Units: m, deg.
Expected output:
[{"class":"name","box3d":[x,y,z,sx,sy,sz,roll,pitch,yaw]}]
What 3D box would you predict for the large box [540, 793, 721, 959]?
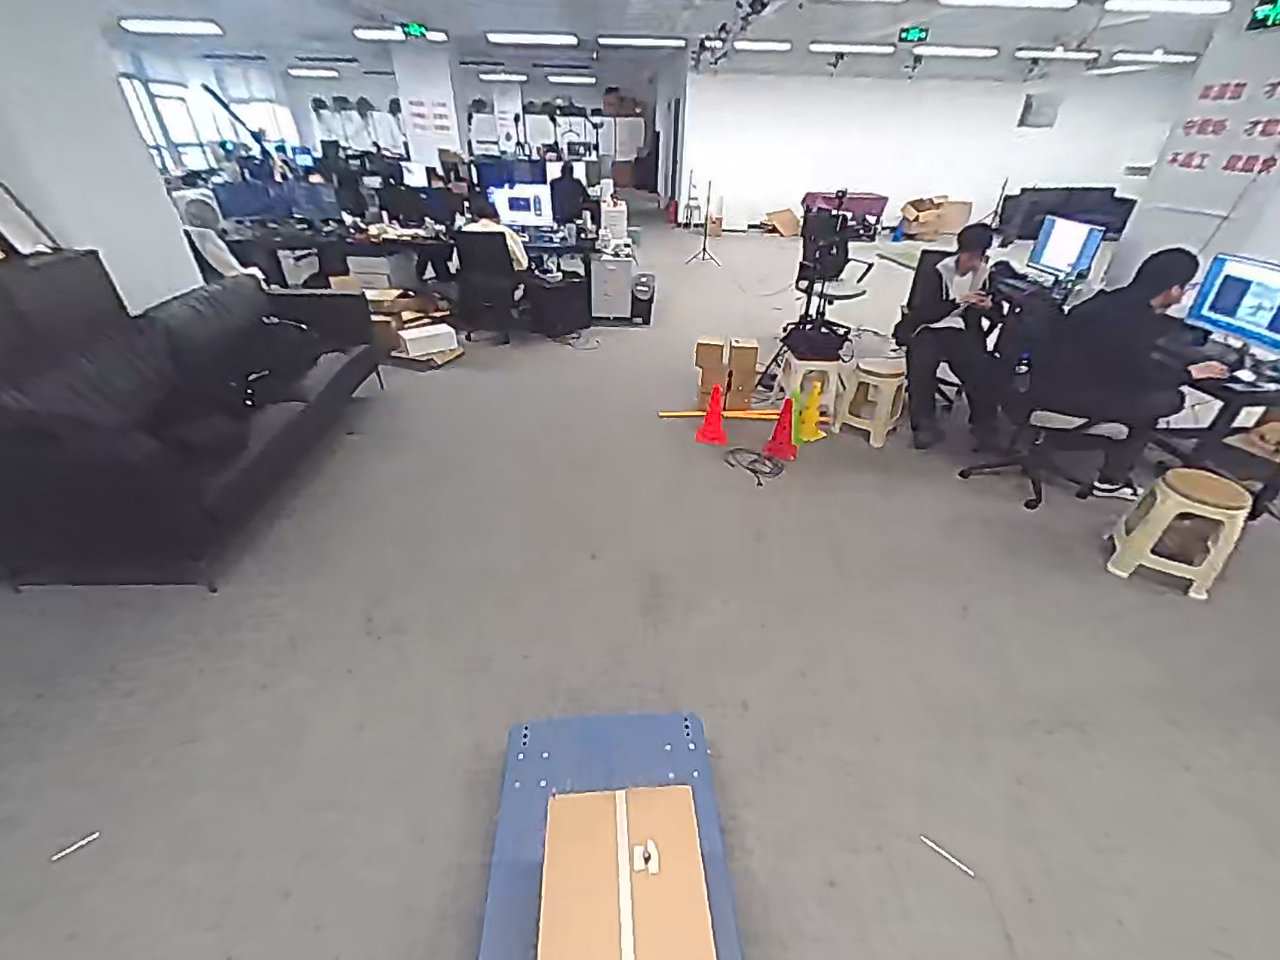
[{"class":"large box","box3d":[-0.022,0.912,1.066,0.320,0.320,0.408,-1,32,-4]}]
